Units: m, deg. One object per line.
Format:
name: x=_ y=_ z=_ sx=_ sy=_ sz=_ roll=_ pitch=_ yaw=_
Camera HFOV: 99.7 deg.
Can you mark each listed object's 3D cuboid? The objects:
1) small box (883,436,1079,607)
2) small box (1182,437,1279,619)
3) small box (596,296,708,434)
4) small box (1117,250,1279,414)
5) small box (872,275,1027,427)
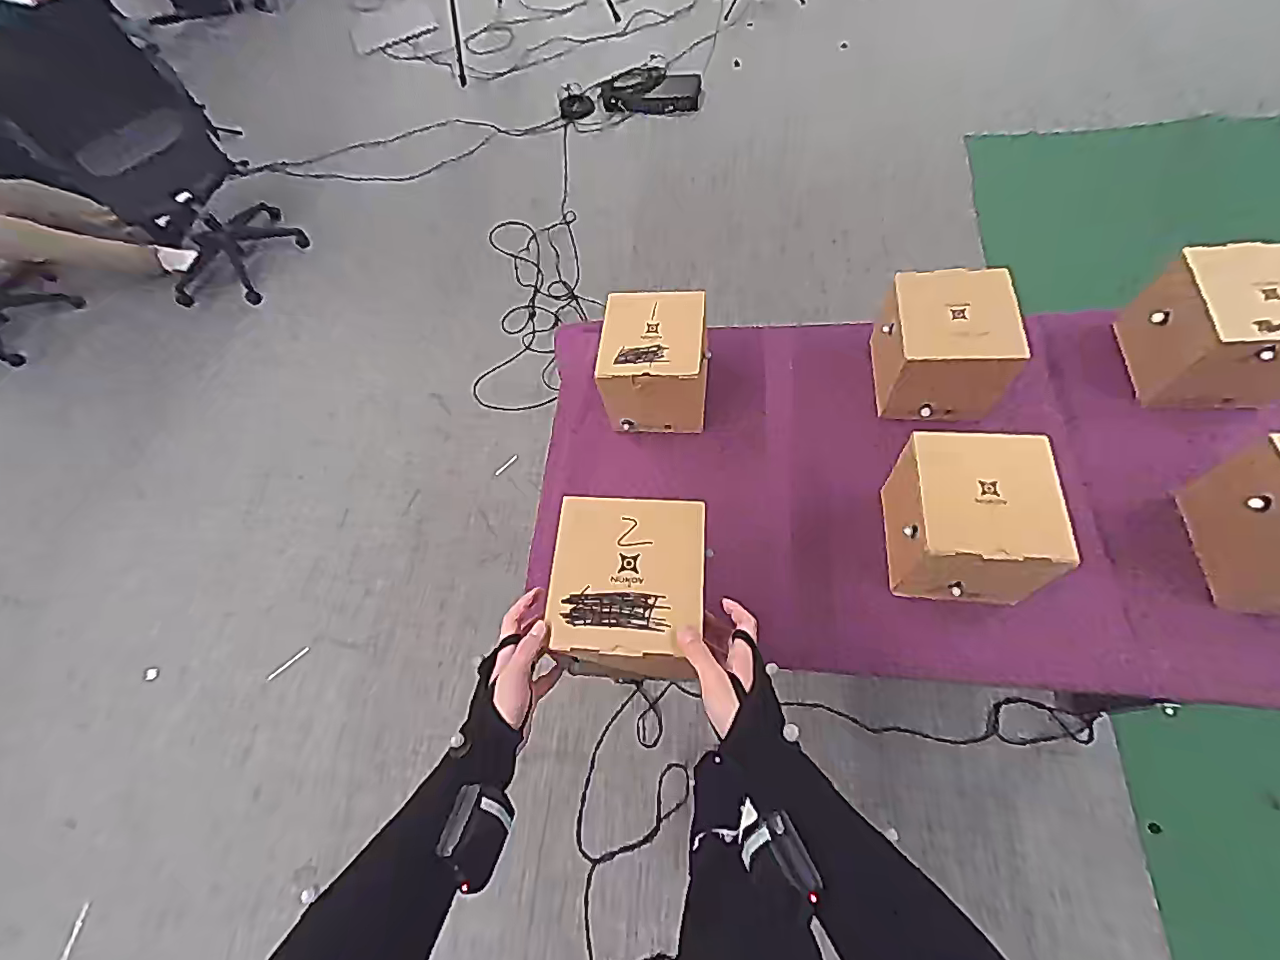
small box: x=0.444 y=0.060 z=0.742 sx=0.168 sy=0.176 sz=0.179 roll=3 pitch=62 yaw=10
small box: x=0.843 y=0.066 z=0.671 sx=0.168 sy=0.176 sz=0.179 roll=3 pitch=61 yaw=12
small box: x=0.030 y=-0.193 z=0.938 sx=0.168 sy=0.176 sz=0.179 roll=2 pitch=63 yaw=9
small box: x=0.877 y=-0.219 z=0.817 sx=0.168 sy=0.176 sz=0.179 roll=1 pitch=64 yaw=12
small box: x=0.484 y=-0.206 z=0.878 sx=0.168 sy=0.176 sz=0.179 roll=2 pitch=64 yaw=11
